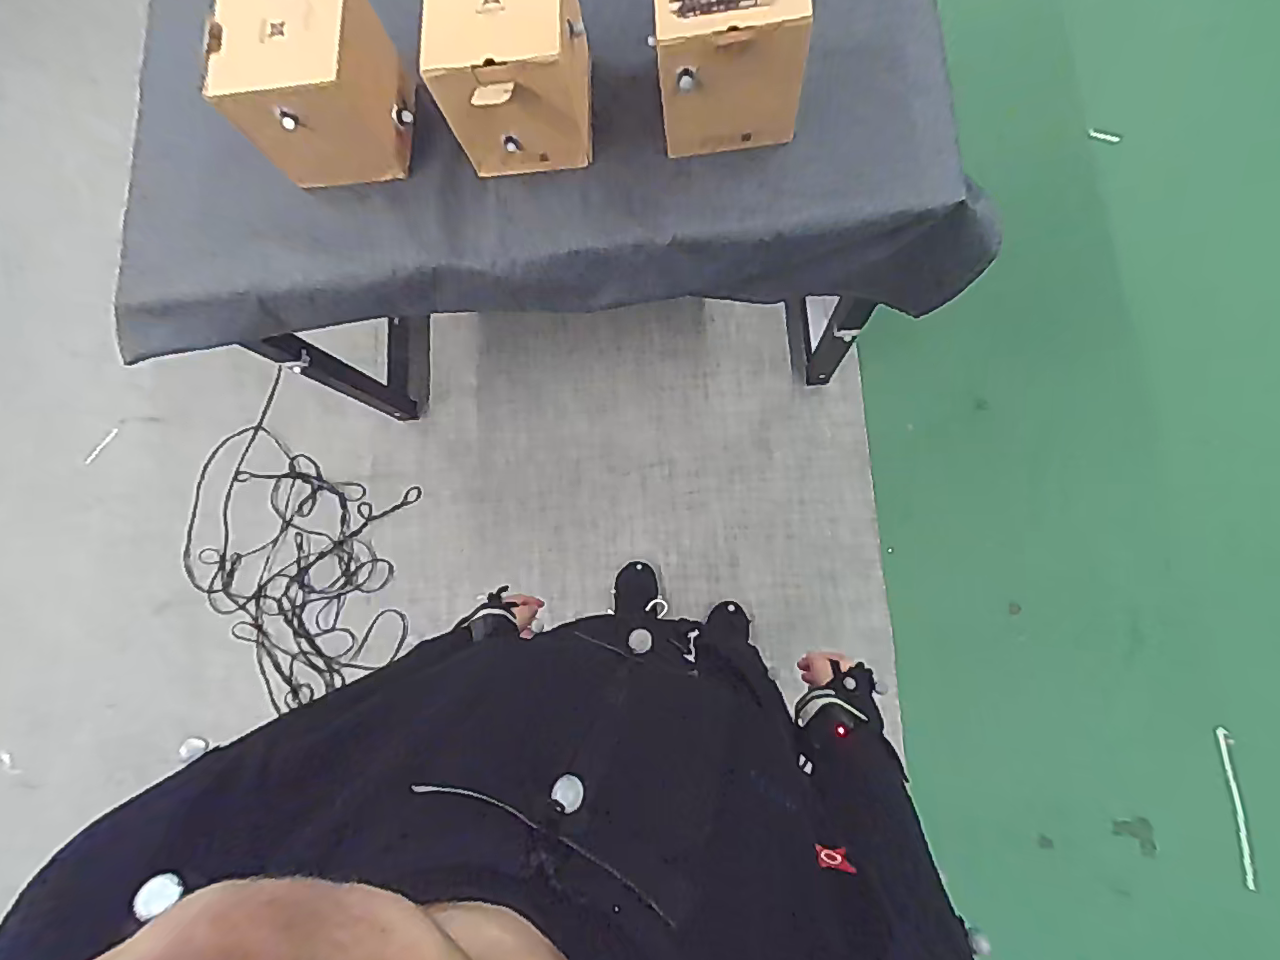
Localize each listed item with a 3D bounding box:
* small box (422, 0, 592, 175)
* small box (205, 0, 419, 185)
[{"bbox_3d":[-0.159,-0.533,0.697,0.168,0.176,0.179,-2,81,6],"label":"small box"},{"bbox_3d":[-0.427,-0.526,0.728,0.179,0.176,0.168,-2,82,6],"label":"small box"}]
